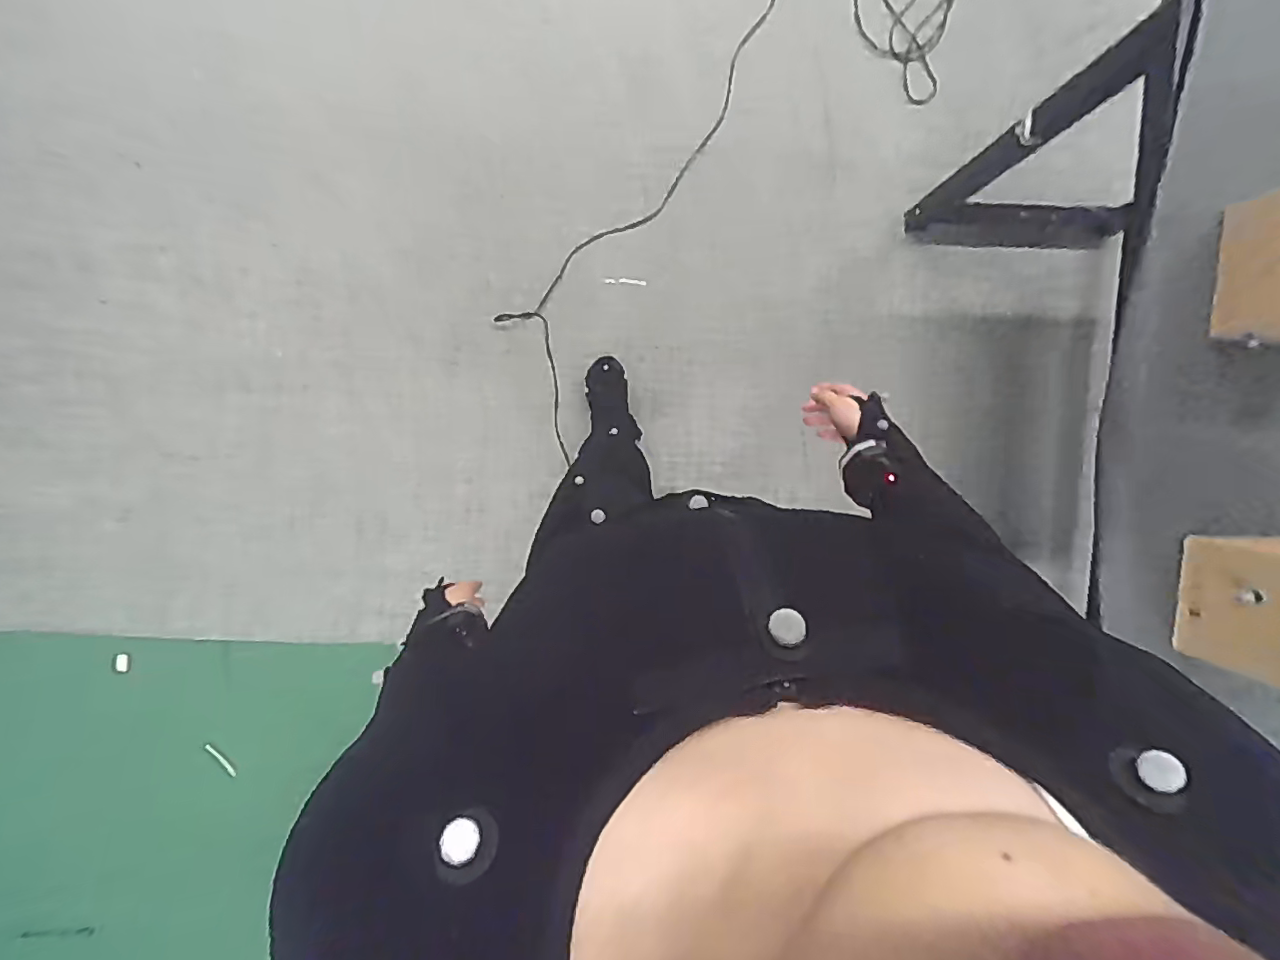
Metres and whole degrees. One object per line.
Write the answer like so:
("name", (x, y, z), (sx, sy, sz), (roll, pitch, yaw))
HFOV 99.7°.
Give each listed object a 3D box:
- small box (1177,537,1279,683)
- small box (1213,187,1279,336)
("small box", (0.855, 0.170, 0.694), (0.179, 0.176, 0.168), (1, 94, -4))
("small box", (0.871, -0.275, 0.661), (0.168, 0.176, 0.179), (2, 94, -3))
